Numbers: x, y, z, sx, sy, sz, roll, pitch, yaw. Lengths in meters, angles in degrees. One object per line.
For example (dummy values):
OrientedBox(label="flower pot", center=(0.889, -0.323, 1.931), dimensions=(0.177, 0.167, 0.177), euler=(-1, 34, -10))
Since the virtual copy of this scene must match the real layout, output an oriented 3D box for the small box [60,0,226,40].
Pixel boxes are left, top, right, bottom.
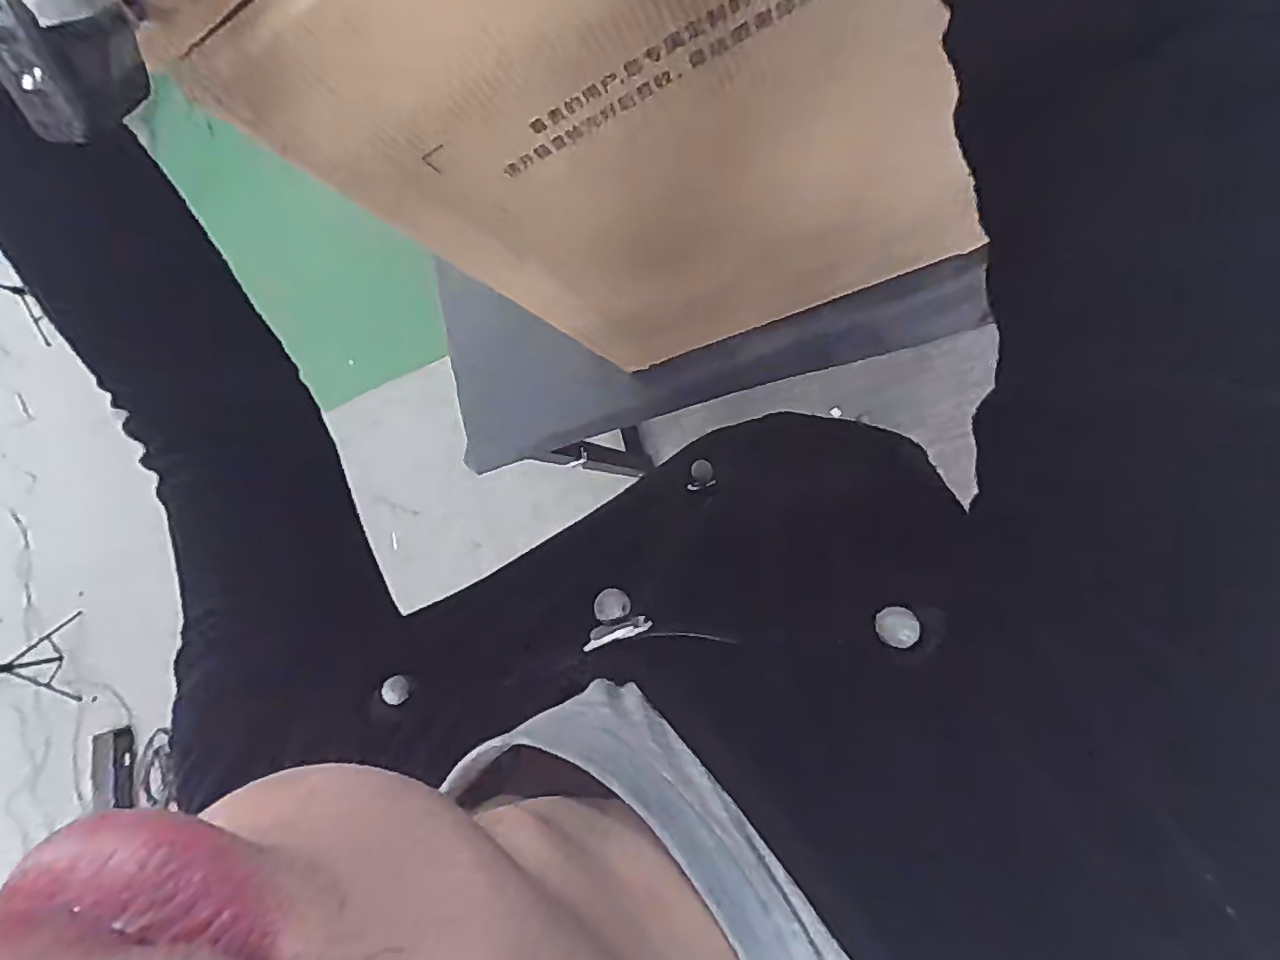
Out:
OrientedBox(label="small box", center=(-0.252, -0.338, 0.221), dimensions=(0.168, 0.176, 0.179), euler=(-12, 80, 24))
